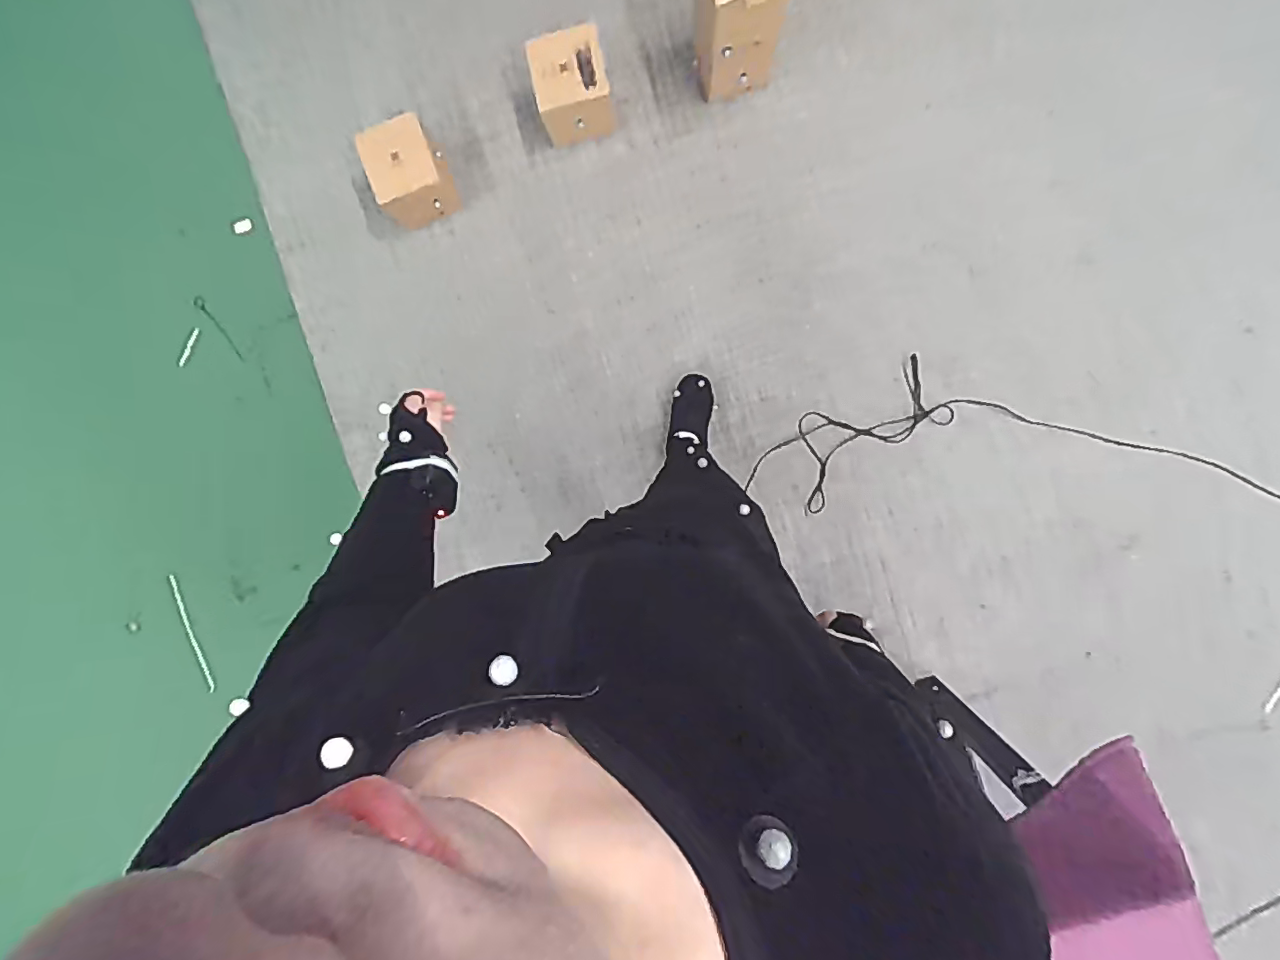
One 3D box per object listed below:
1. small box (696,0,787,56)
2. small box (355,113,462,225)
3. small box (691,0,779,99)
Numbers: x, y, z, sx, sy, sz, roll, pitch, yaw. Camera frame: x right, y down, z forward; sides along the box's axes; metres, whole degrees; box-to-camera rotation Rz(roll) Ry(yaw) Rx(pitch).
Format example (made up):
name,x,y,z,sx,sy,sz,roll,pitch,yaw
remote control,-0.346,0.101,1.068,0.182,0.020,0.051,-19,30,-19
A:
name,x,y,z,sx,sy,sz,roll,pitch,yaw
small box,0.212,-1.044,1.140,0.168,0.176,0.179,-13,93,5
small box,-0.582,-0.781,1.385,0.168,0.176,0.179,-19,92,5
small box,0.224,-1.063,1.303,0.168,0.176,0.179,-15,94,5
